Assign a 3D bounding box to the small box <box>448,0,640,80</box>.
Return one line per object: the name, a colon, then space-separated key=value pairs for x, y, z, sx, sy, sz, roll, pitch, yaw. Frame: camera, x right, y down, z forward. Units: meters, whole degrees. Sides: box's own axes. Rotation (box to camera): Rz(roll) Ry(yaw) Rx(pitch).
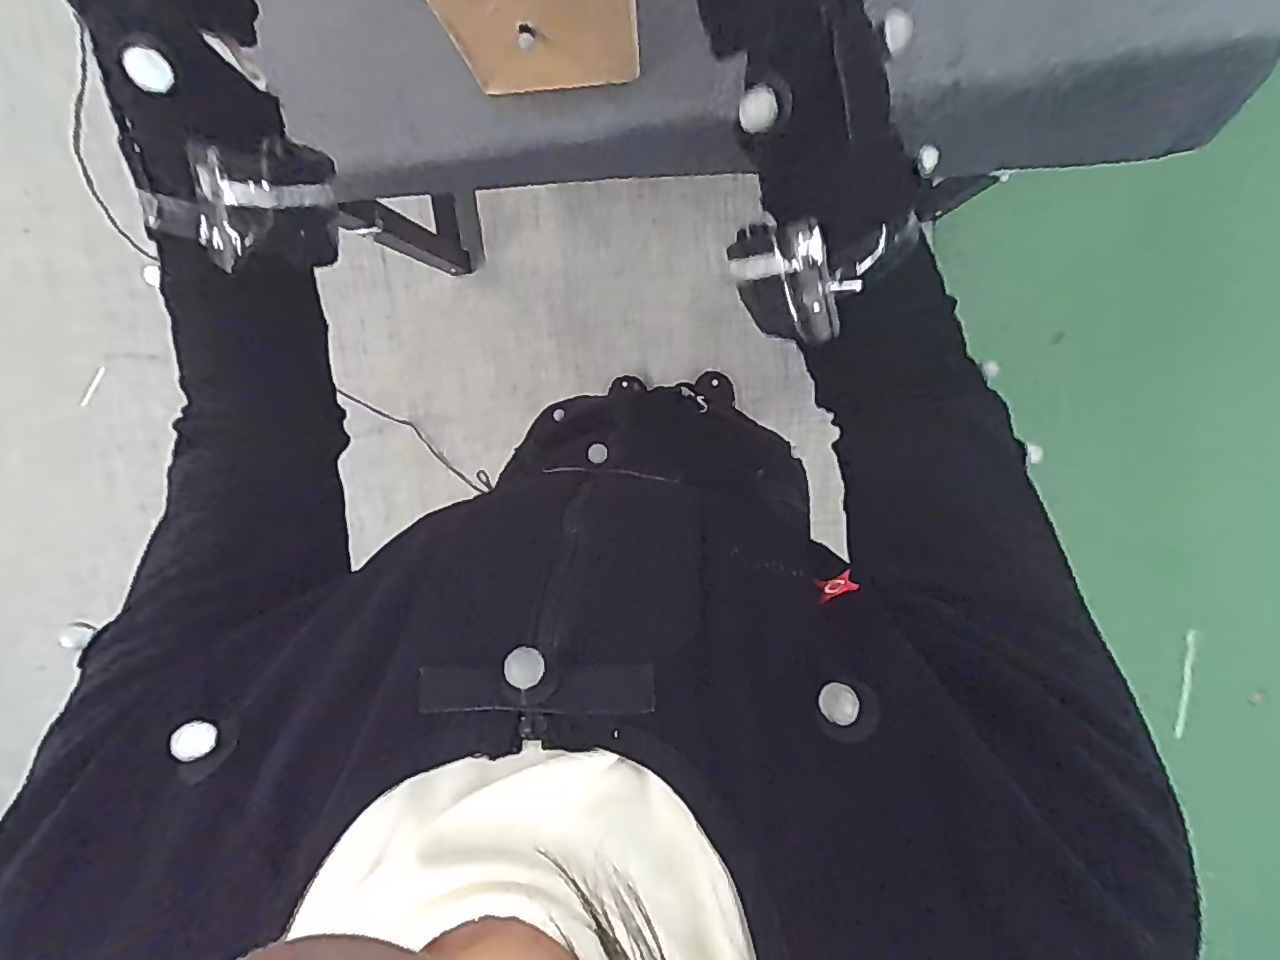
small box: x=-0.096 y=-0.518 z=0.517 sx=0.179 sy=0.176 sz=0.168 roll=-2 pitch=100 yaw=4
